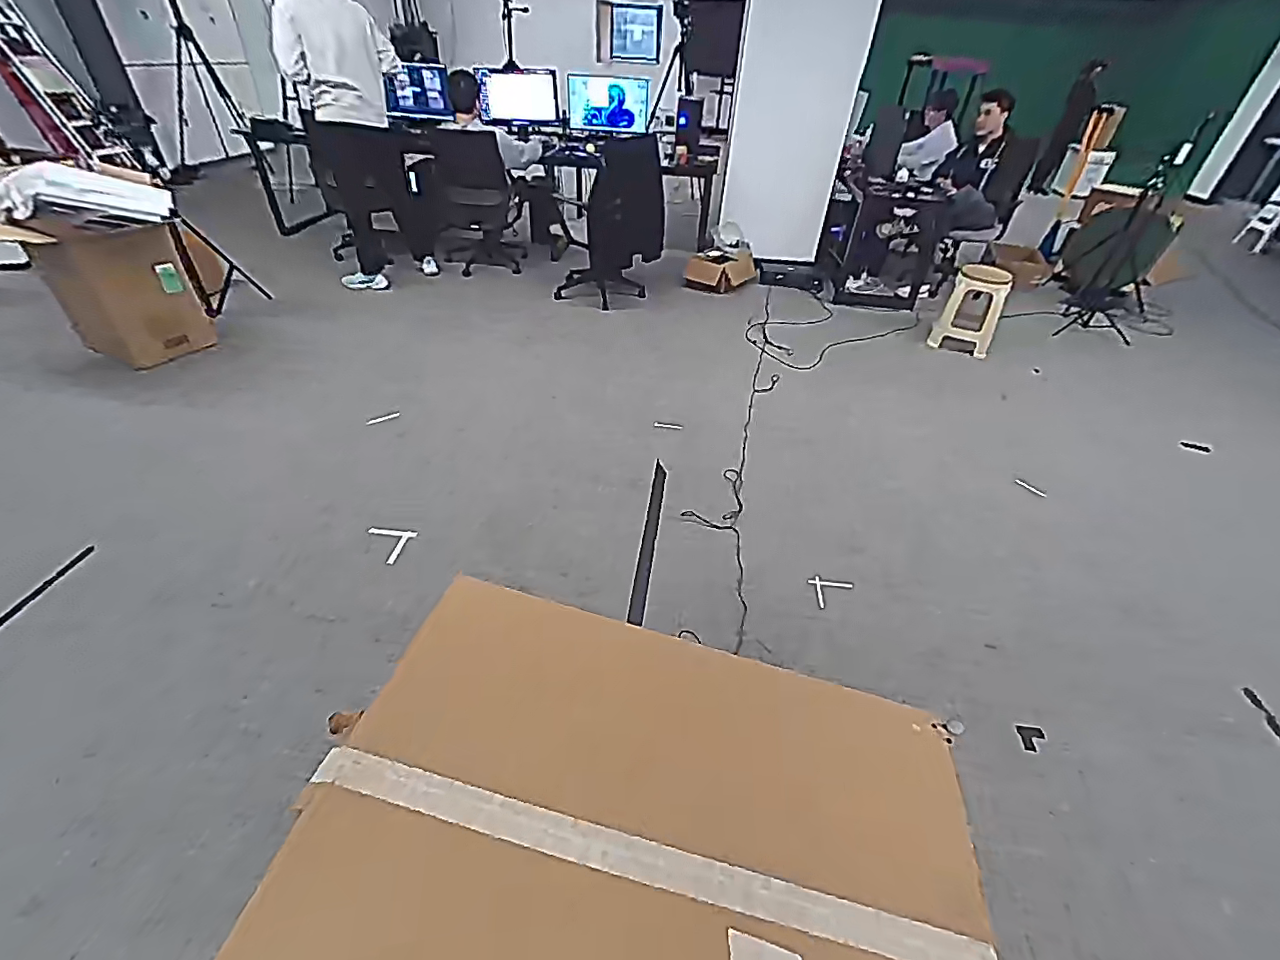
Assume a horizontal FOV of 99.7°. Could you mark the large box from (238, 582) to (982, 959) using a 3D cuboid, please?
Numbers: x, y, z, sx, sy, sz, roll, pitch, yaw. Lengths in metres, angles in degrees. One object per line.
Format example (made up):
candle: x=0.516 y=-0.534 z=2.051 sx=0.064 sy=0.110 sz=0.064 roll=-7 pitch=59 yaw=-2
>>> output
large box: x=-0.016 y=0.339 z=0.425 sx=0.408 sy=0.320 sz=0.320 roll=16 pitch=41 yaw=2
